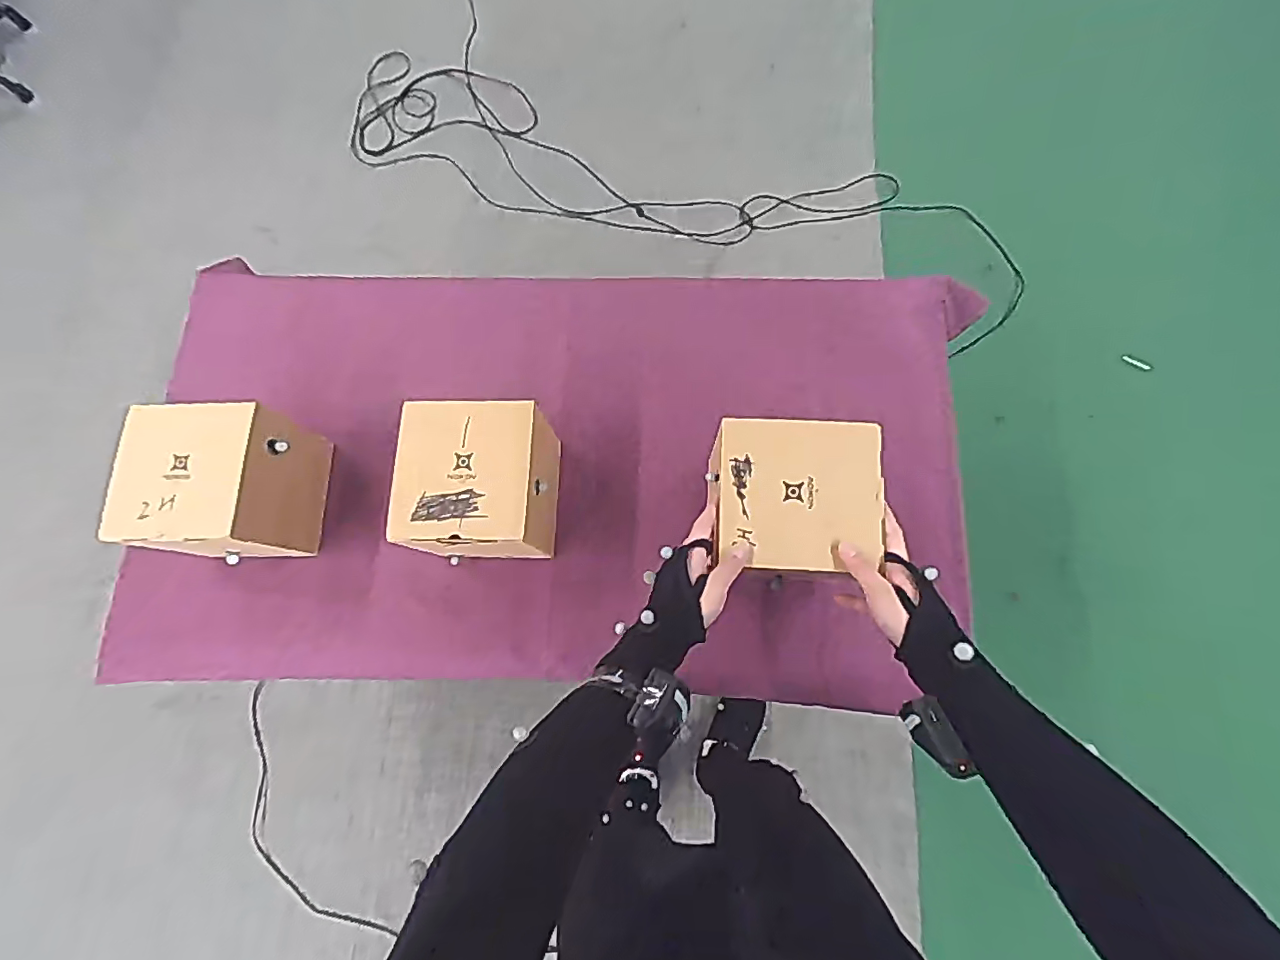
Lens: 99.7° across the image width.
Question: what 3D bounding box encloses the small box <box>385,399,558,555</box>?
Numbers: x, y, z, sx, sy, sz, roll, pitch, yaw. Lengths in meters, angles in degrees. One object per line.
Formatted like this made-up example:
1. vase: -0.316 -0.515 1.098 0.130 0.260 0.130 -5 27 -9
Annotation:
1. small box: -0.209 0.005 0.720 0.168 0.176 0.179 1 75 3

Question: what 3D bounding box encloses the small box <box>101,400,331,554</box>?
1. small box: -0.556 0.003 0.738 0.168 0.176 0.179 -1 76 3

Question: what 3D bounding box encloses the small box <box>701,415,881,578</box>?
1. small box: 0.173 0.030 0.659 0.179 0.176 0.168 3 77 3
